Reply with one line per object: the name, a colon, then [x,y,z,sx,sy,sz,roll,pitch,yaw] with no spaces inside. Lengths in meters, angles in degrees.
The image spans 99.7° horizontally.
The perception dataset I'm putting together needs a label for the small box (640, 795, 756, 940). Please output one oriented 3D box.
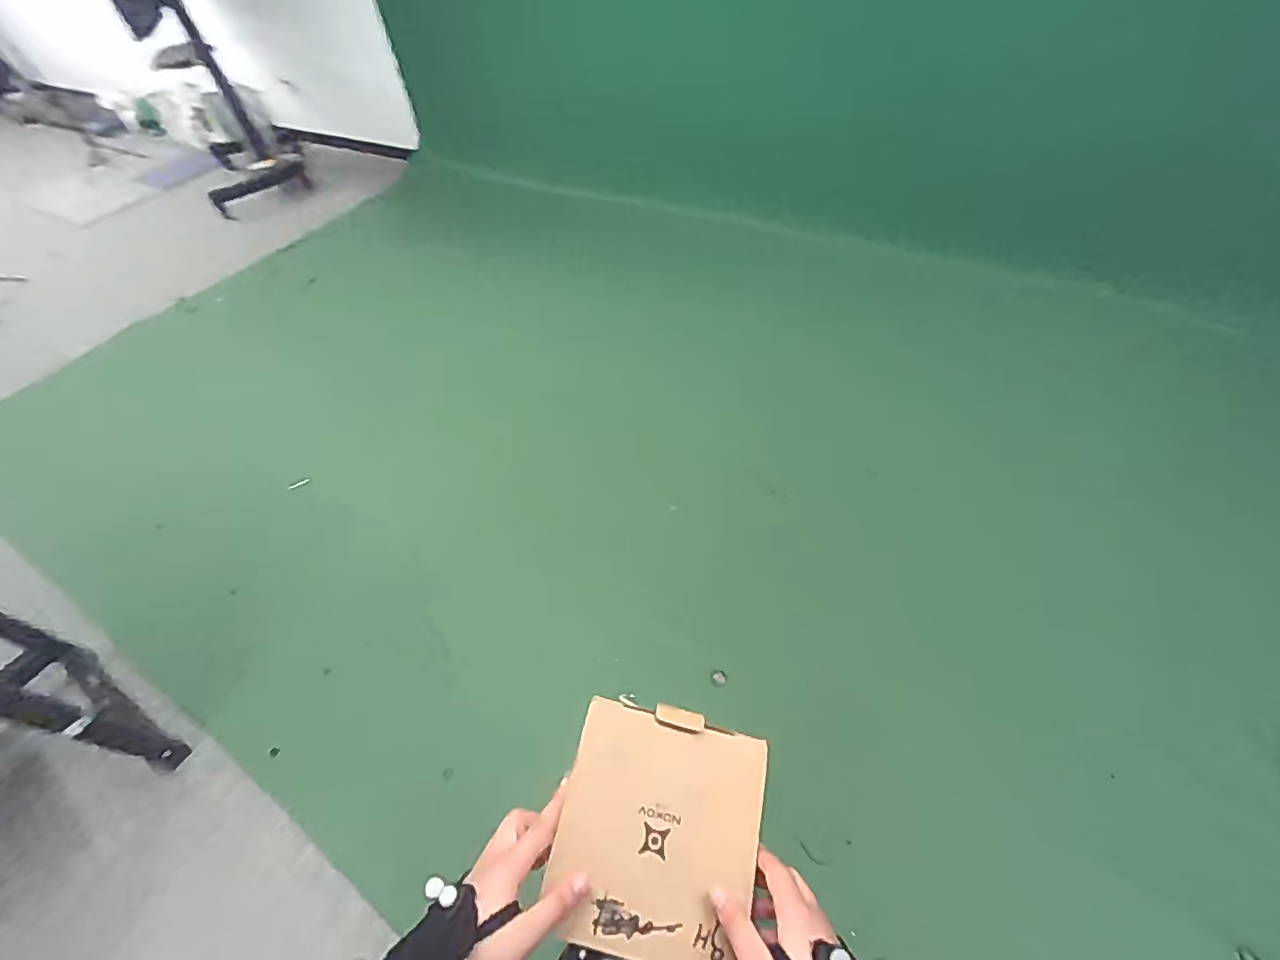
small box: [0.122,0.798,1.117,0.168,0.176,0.179,31,60,26]
